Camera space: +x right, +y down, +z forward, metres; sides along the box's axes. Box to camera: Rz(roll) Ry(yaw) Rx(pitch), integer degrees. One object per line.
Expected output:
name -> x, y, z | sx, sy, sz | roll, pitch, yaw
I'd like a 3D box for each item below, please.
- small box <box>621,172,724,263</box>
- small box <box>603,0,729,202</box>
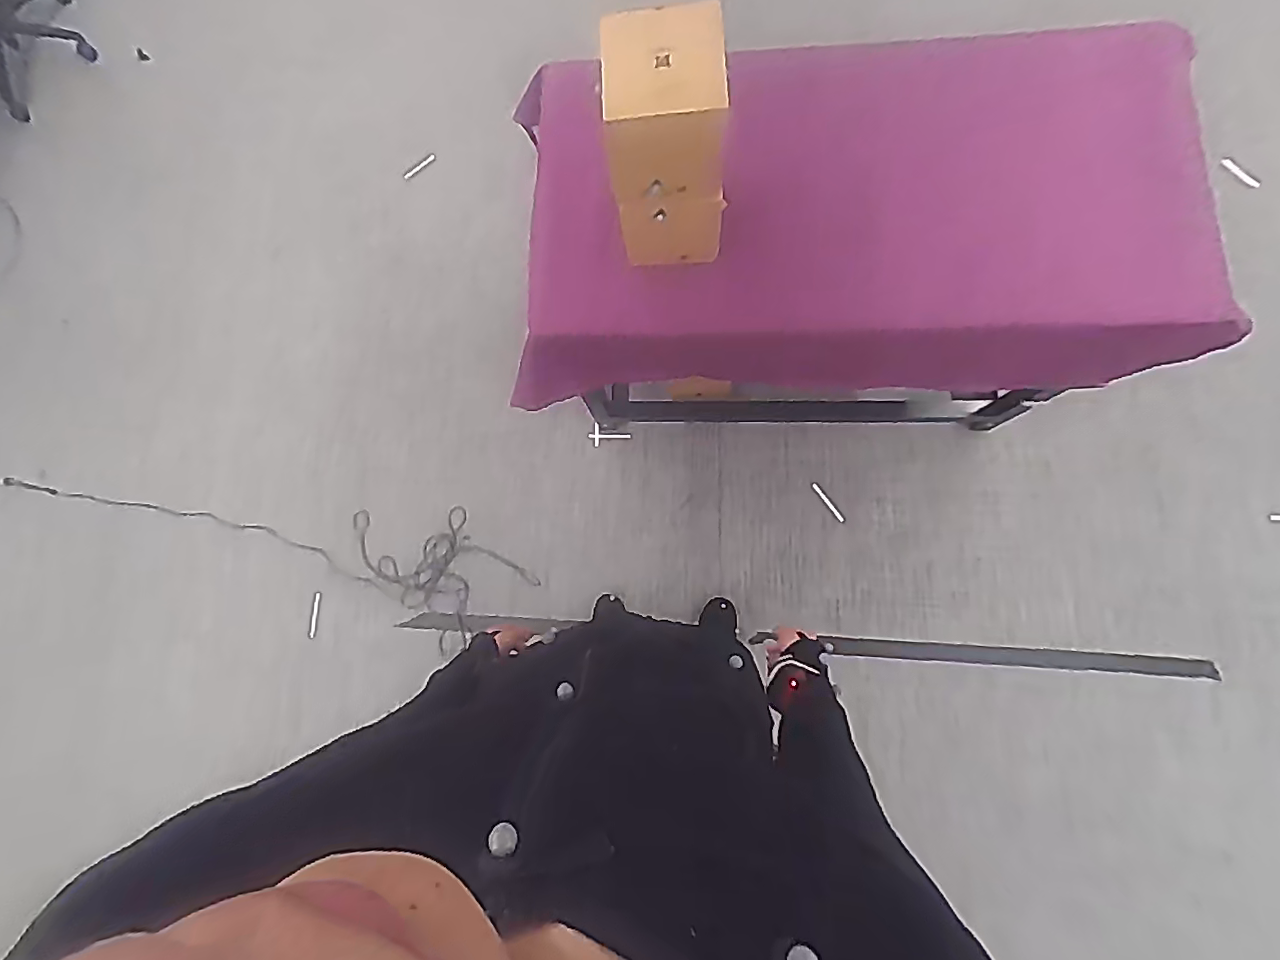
small box -> 0.057, -0.510, 0.949 | 0.168, 0.176, 0.179 | -1, 79, 5
small box -> 0.038, -0.542, 0.790 | 0.168, 0.176, 0.179 | -2, 80, 5
